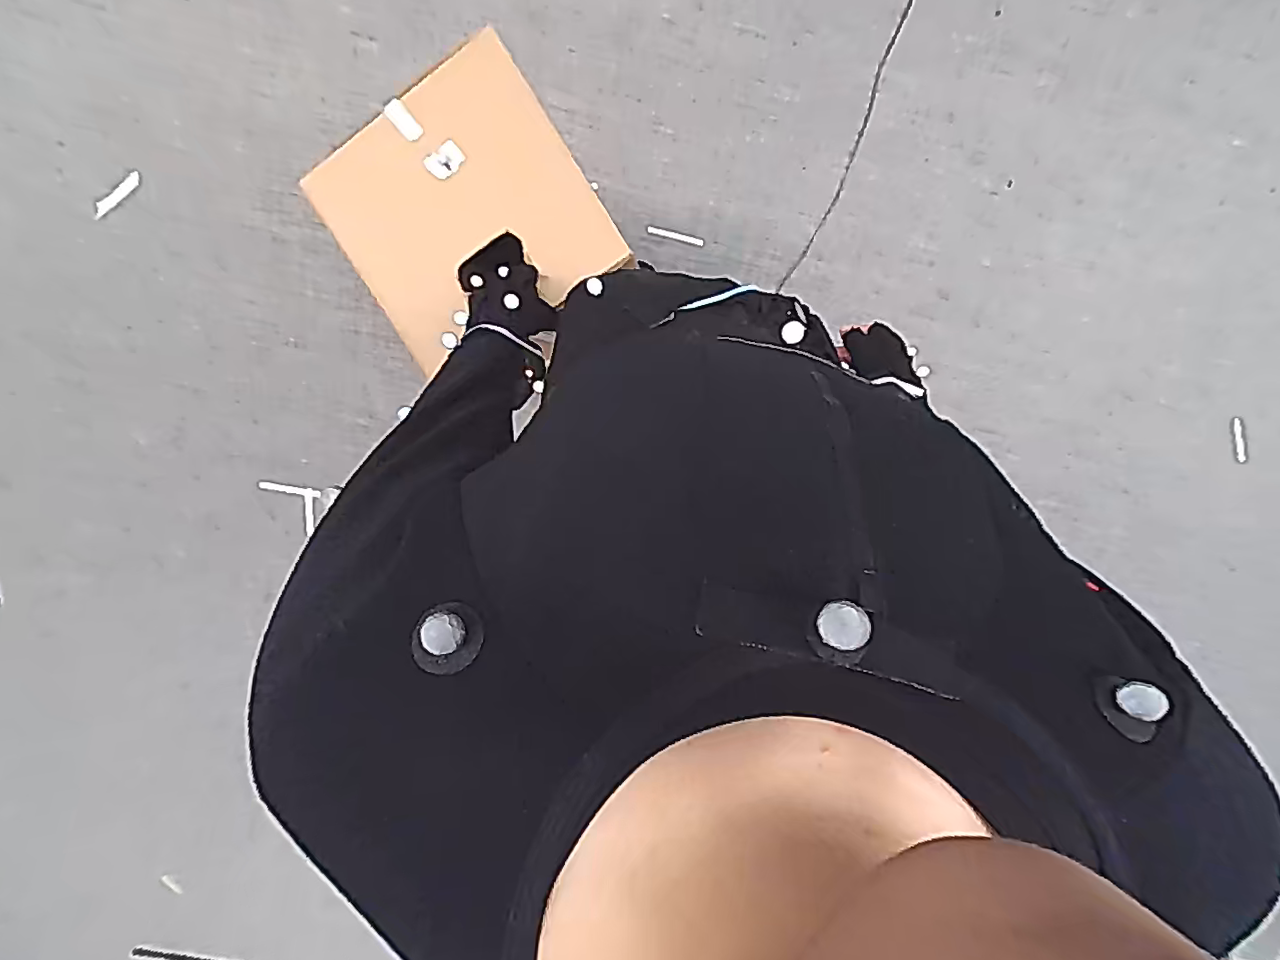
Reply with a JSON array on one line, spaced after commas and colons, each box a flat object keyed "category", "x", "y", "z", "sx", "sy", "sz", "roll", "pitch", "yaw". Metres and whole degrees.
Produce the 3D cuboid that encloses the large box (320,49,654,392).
[{"category": "large box", "x": -0.197, "y": -0.361, "z": 0.876, "sx": 0.320, "sy": 0.408, "sz": 0.320, "roll": -30, "pitch": 98, "yaw": 10}]
